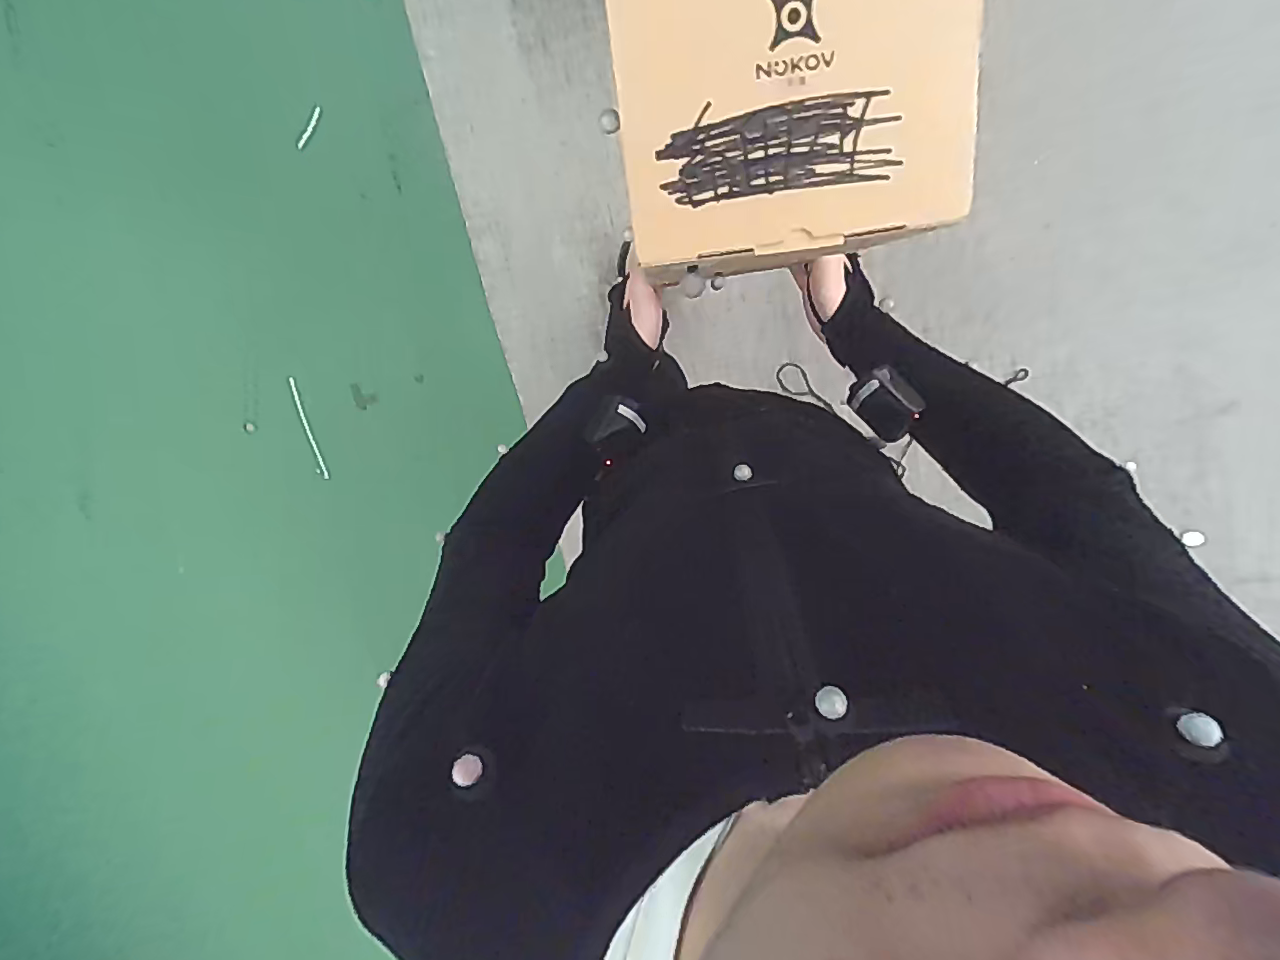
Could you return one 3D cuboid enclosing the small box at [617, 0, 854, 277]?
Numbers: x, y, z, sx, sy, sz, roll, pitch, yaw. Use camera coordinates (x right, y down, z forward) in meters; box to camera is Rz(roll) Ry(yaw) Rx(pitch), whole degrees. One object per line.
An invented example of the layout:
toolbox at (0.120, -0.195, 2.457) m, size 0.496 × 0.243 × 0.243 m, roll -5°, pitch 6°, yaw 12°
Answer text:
small box at (0.076, -0.285, 0.476) m, size 0.168 × 0.176 × 0.179 m, roll -7°, pitch 108°, yaw 5°
